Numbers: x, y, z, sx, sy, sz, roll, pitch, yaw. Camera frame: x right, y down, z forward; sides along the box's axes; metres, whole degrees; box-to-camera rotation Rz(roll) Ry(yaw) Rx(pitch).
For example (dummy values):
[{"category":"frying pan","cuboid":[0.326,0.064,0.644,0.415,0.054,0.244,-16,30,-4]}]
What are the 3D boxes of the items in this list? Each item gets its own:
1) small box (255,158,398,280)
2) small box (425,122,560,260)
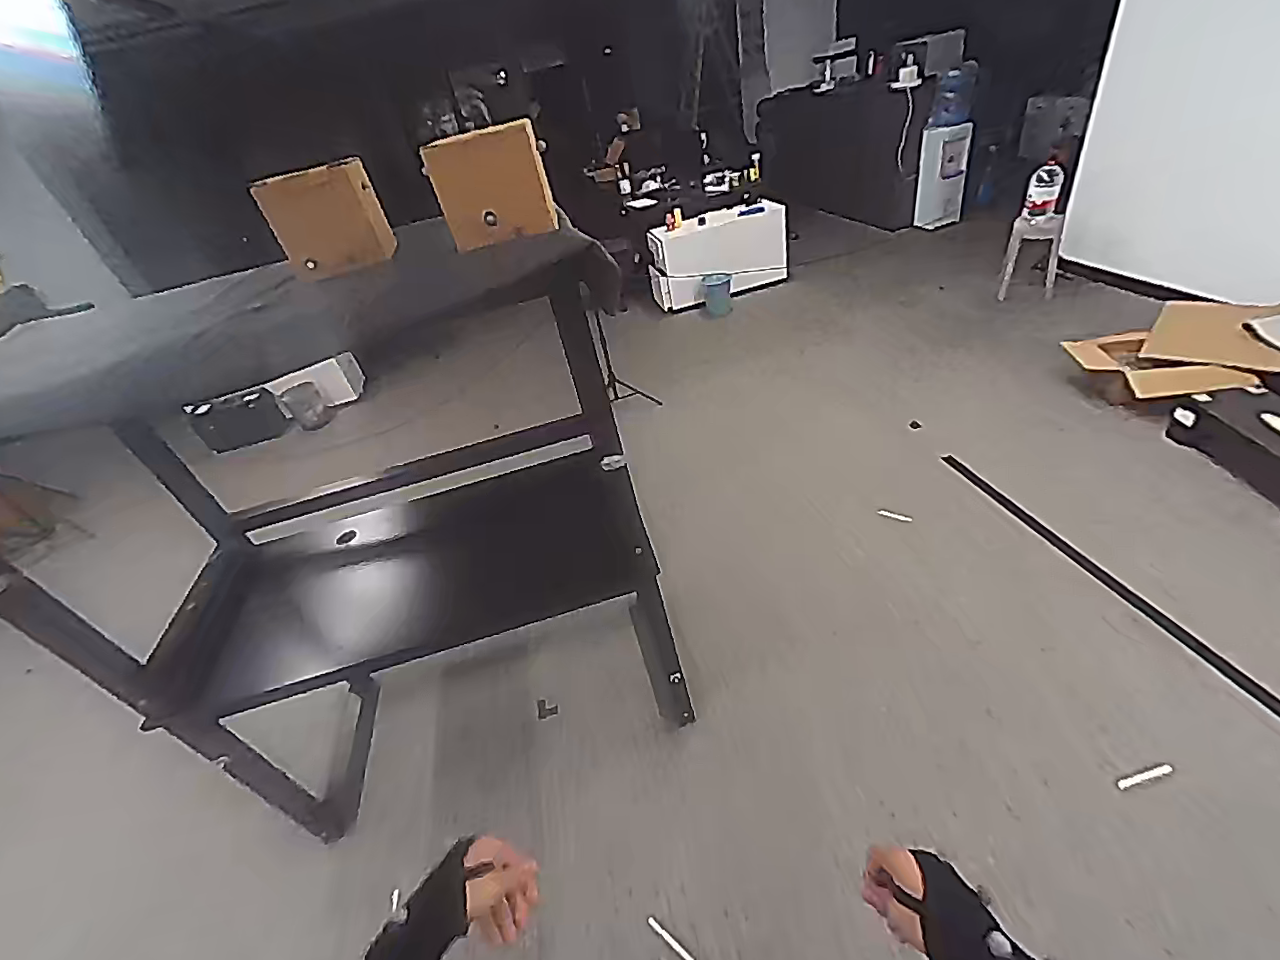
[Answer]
[{"category":"small box","cuboid":[-0.587,-0.501,1.043,0.168,0.176,0.179,-18,36,-6]},{"category":"small box","cuboid":[-0.237,-0.489,0.916,0.168,0.176,0.179,-14,36,0]}]
